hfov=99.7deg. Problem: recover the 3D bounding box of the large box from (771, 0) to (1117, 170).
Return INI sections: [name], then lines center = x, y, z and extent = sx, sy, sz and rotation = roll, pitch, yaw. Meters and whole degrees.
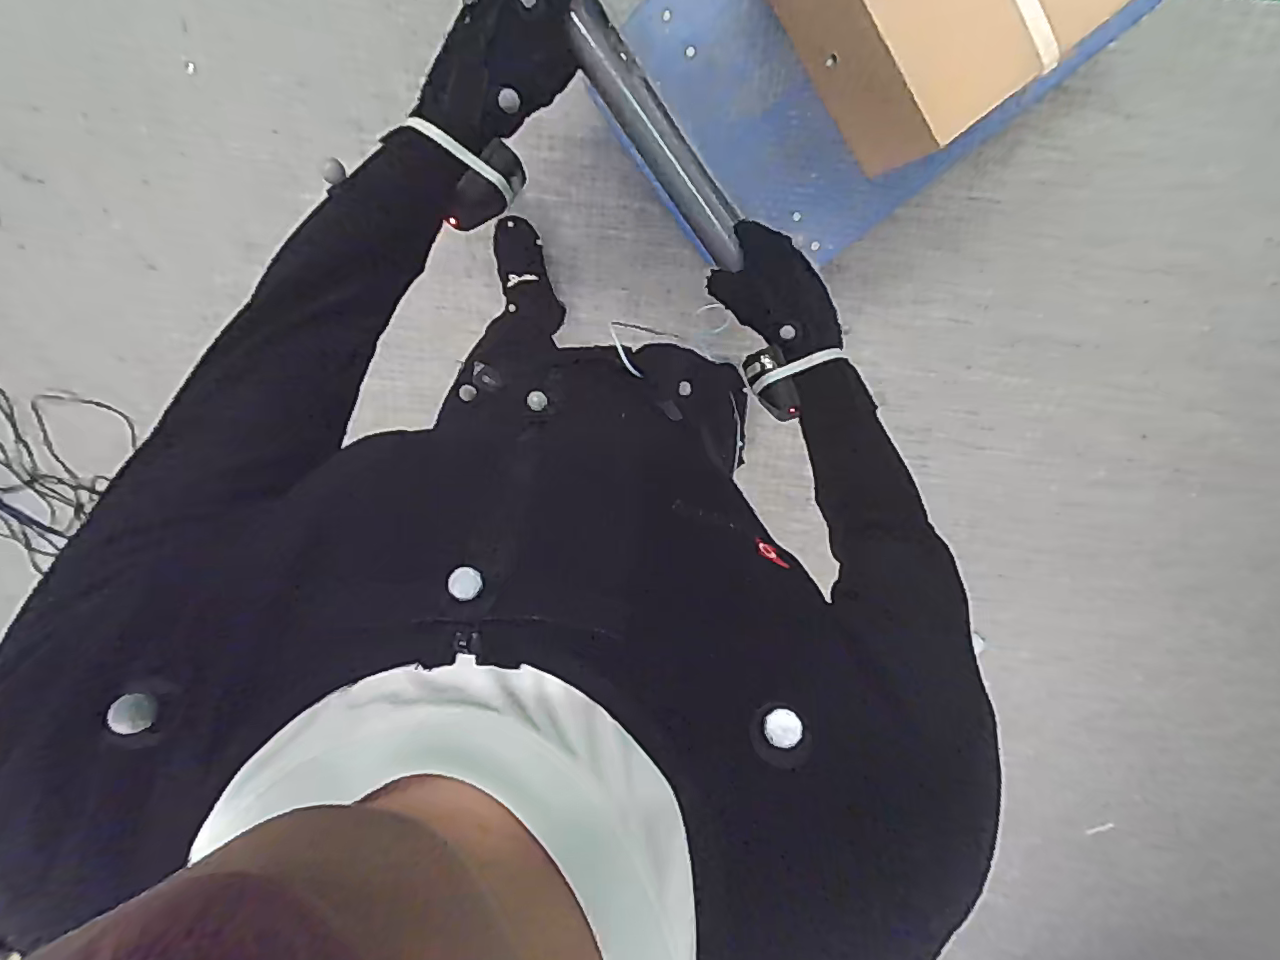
[large box]
center = 0.434, -0.771, 0.822
extent = 0.320, 0.320, 0.408
rotation = -35, 105, 15
